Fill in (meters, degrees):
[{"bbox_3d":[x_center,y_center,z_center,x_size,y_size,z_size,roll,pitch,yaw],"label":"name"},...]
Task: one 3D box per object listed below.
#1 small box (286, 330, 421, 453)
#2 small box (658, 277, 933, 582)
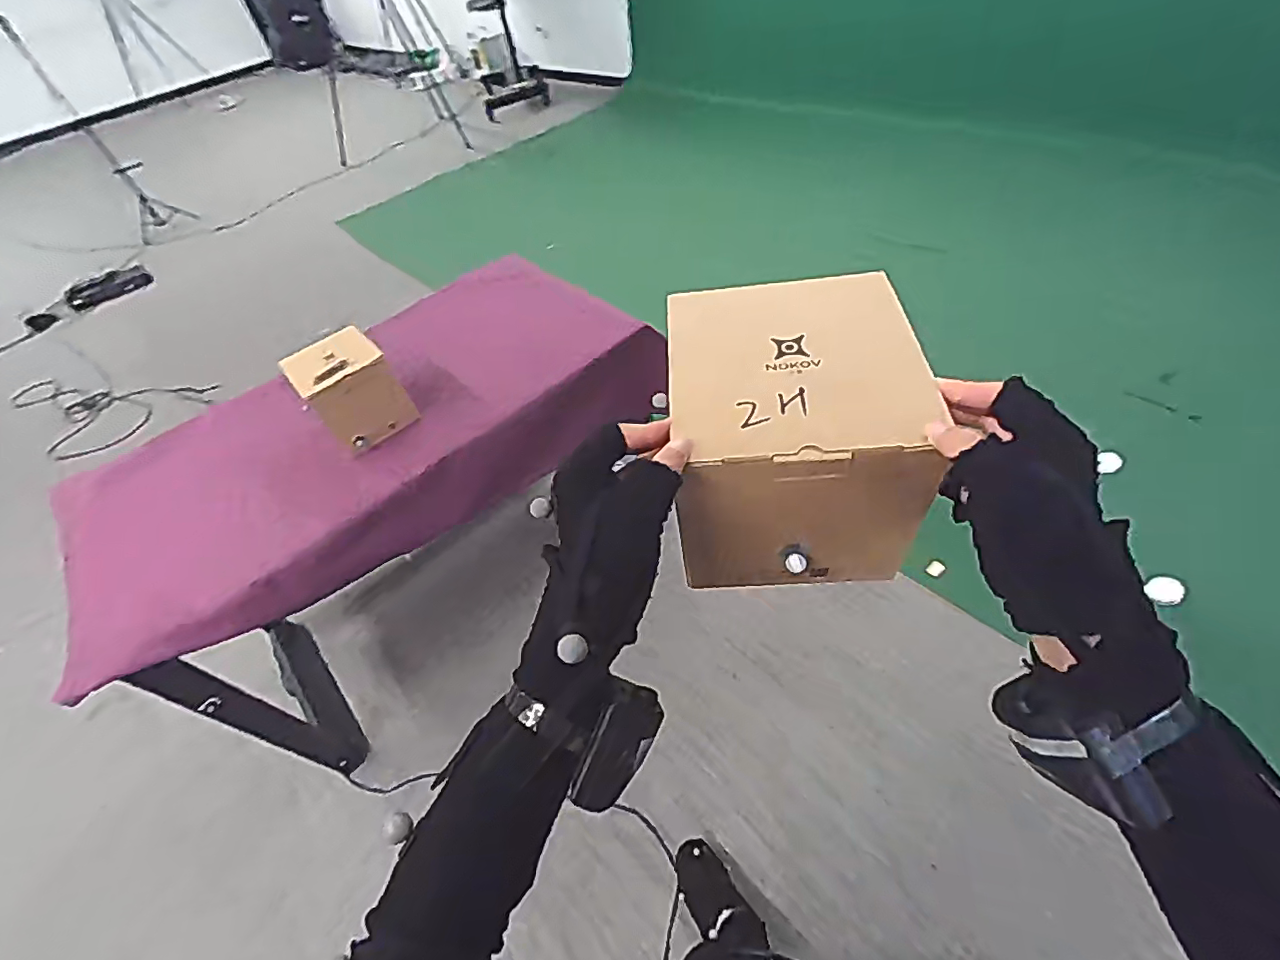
[{"bbox_3d":[-0.595,-0.180,1.142,0.168,0.176,0.179,-37,52,-21],"label":"small box"},{"bbox_3d":[0.104,-0.036,0.439,0.168,0.176,0.179,-5,52,7],"label":"small box"}]
